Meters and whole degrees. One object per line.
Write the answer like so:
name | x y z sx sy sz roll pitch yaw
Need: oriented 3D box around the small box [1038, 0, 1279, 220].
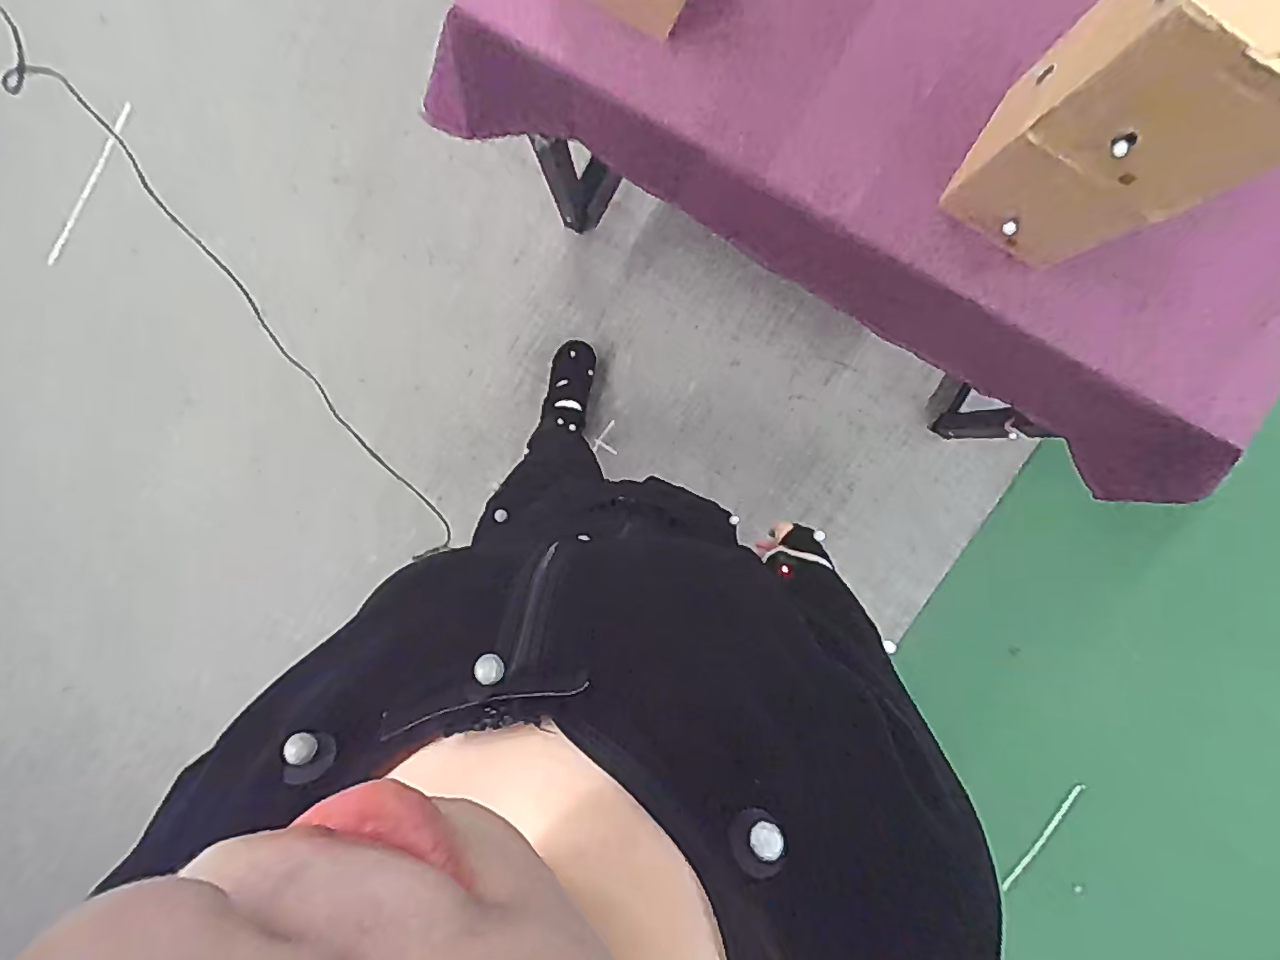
small box | 0.503 -0.369 0.465 0.168 0.176 0.179 32 95 -2

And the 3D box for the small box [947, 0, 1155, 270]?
small box | 0.503 -0.382 0.627 0.168 0.176 0.179 32 94 -1
